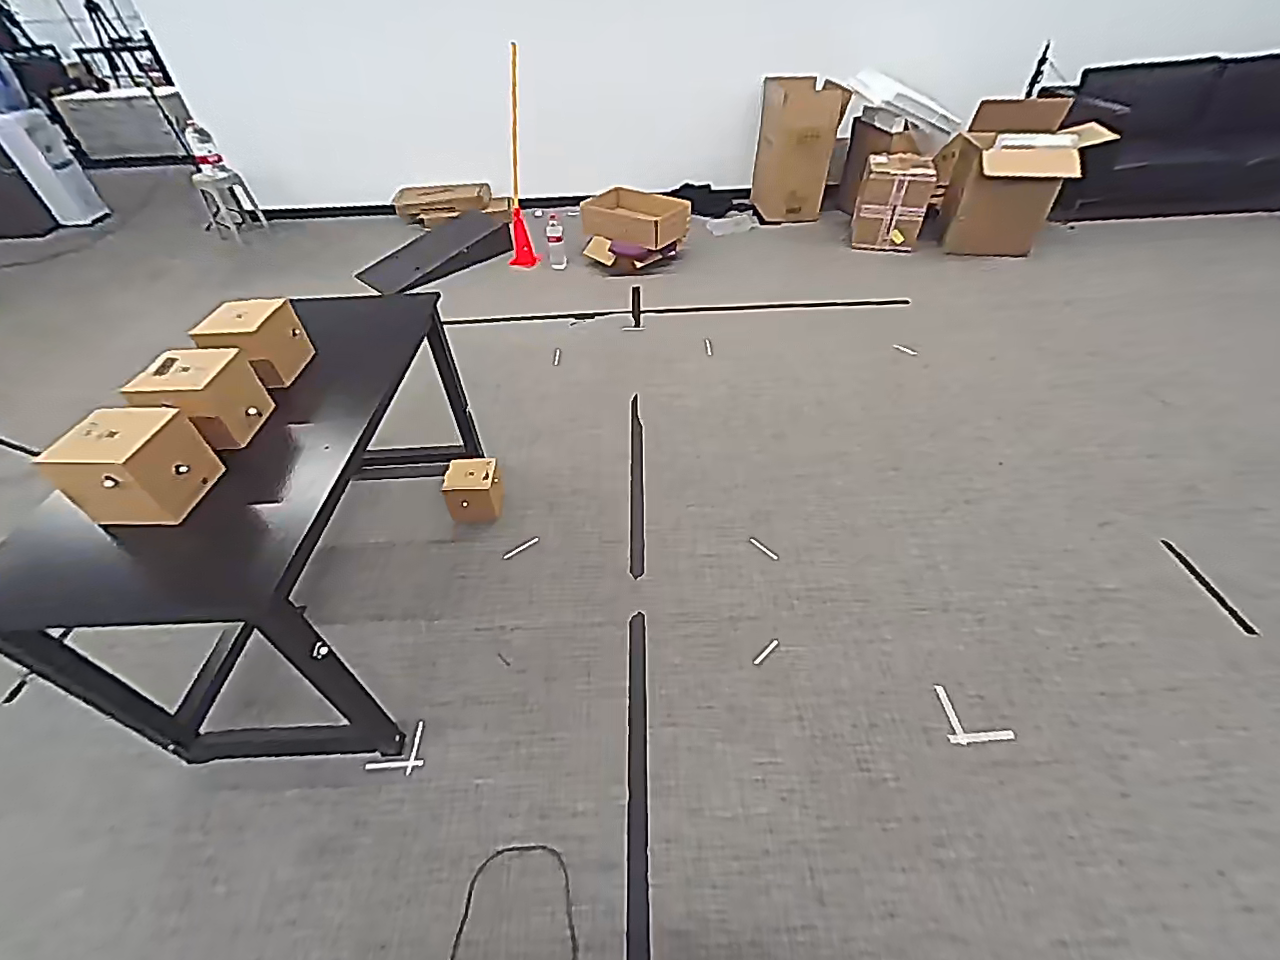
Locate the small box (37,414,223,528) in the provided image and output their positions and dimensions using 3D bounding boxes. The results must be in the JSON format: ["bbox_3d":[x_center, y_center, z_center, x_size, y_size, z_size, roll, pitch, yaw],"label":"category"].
[{"bbox_3d":[-1.000,-0.016,1.085,0.179,0.176,0.168,0,43,3],"label":"small box"}]

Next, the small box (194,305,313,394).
[{"bbox_3d":[-1.003,-0.343,1.427,0.168,0.176,0.179,-4,44,1],"label":"small box"}]

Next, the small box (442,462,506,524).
[{"bbox_3d":[-0.622,0.052,2.044,0.179,0.176,0.168,-3,45,0],"label":"small box"}]

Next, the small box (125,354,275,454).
[{"bbox_3d":[-0.998,-0.172,1.246,0.179,0.176,0.168,-2,43,-1],"label":"small box"}]
